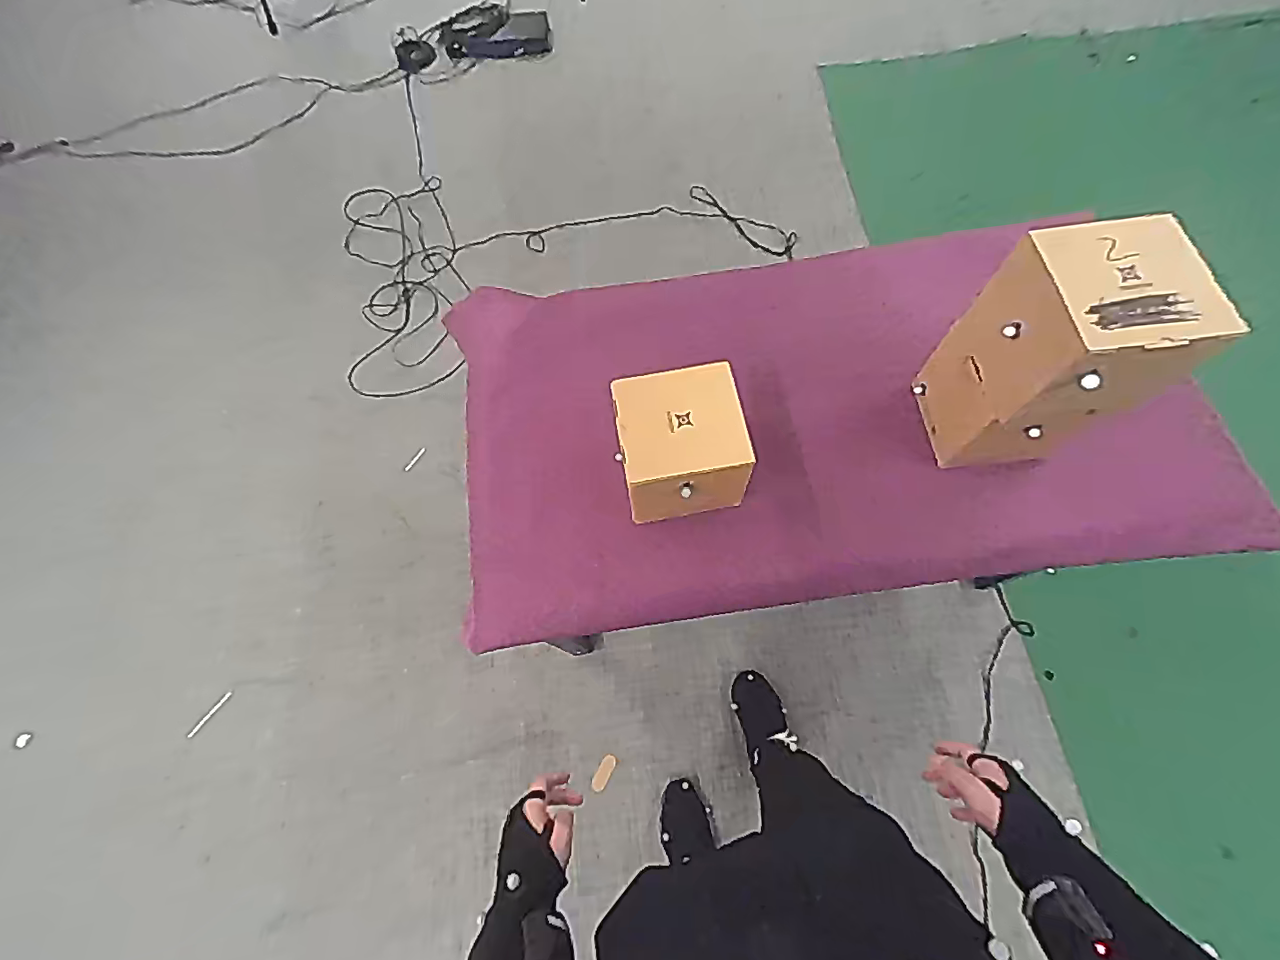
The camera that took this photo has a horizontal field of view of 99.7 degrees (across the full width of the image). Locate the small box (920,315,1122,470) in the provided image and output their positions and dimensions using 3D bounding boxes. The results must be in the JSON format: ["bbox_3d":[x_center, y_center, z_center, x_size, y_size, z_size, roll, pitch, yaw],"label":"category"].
[{"bbox_3d":[0.555,-0.124,0.824,0.179,0.176,0.168,-6,67,1],"label":"small box"}]

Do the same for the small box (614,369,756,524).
[{"bbox_3d":[0.063,-0.044,0.824,0.179,0.176,0.168,-10,67,0],"label":"small box"}]
